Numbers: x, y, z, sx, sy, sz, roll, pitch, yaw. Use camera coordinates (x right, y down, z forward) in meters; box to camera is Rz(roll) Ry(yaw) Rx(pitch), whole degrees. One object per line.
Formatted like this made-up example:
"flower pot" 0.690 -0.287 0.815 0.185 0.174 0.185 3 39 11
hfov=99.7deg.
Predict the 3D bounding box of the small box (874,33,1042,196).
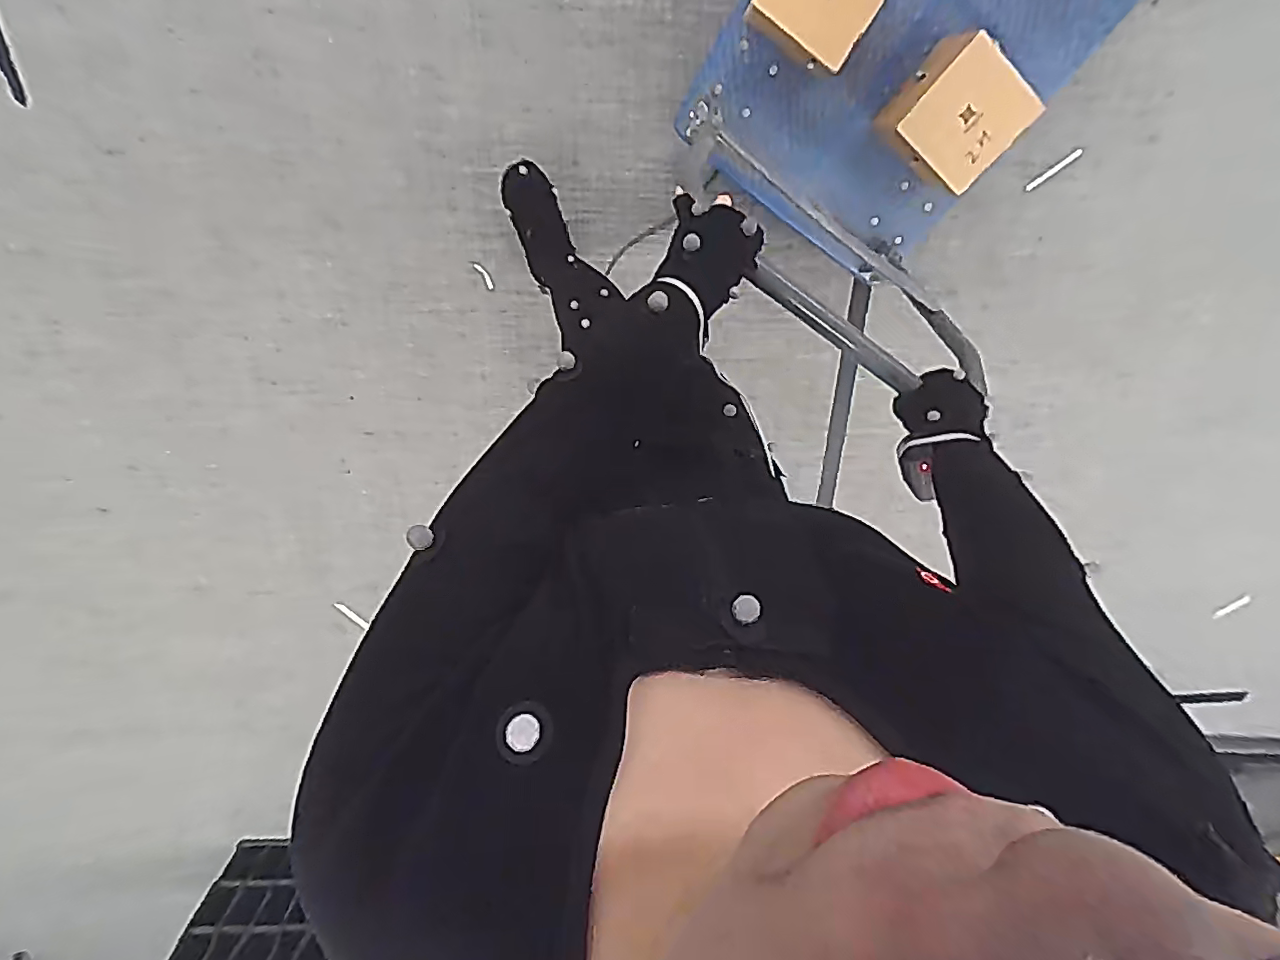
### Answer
"small box" 0.556 -0.648 0.973 0.179 0.176 0.168 34 121 -17

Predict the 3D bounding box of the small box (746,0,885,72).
"small box" 0.294 -0.805 0.889 0.179 0.176 0.168 27 123 -15
